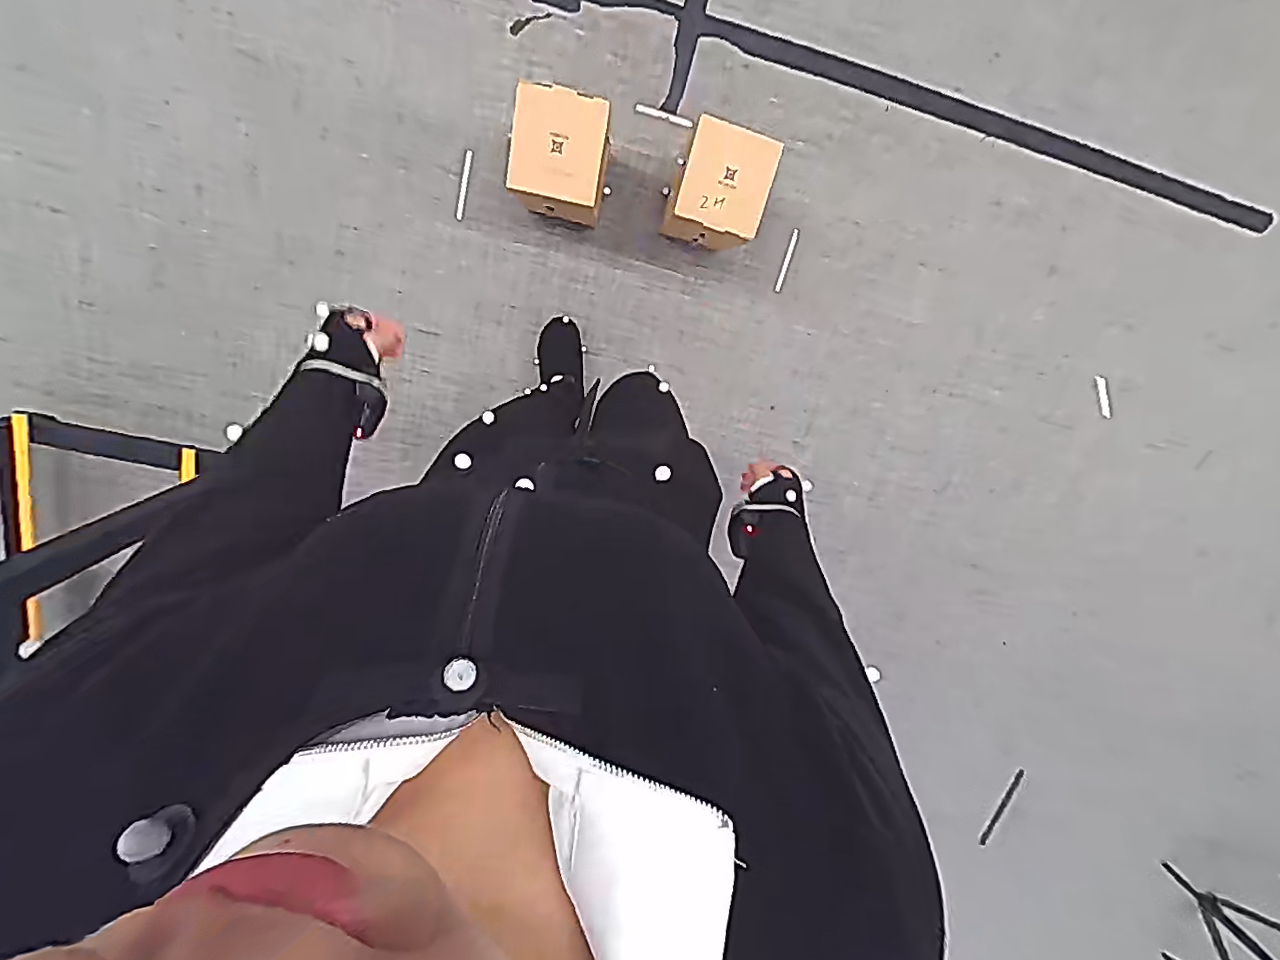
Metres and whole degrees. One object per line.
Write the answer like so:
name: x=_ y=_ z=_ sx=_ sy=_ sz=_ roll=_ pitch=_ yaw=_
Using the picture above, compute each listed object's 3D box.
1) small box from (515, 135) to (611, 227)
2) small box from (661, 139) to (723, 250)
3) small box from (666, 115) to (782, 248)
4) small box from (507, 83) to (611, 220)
small box: x=-0.166 y=-0.678 z=1.203 sx=0.179 sy=0.176 sz=0.168 roll=11 pitch=107 yaw=-8
small box: x=0.150 y=-0.641 z=1.240 sx=0.168 sy=0.176 sz=0.179 roll=13 pitch=107 yaw=-8
small box: x=0.157 y=-0.584 z=1.084 sx=0.168 sy=0.176 sz=0.179 roll=15 pitch=107 yaw=-8
small box: x=-0.152 y=-0.624 z=1.050 sx=0.168 sy=0.176 sz=0.179 roll=10 pitch=108 yaw=-5
